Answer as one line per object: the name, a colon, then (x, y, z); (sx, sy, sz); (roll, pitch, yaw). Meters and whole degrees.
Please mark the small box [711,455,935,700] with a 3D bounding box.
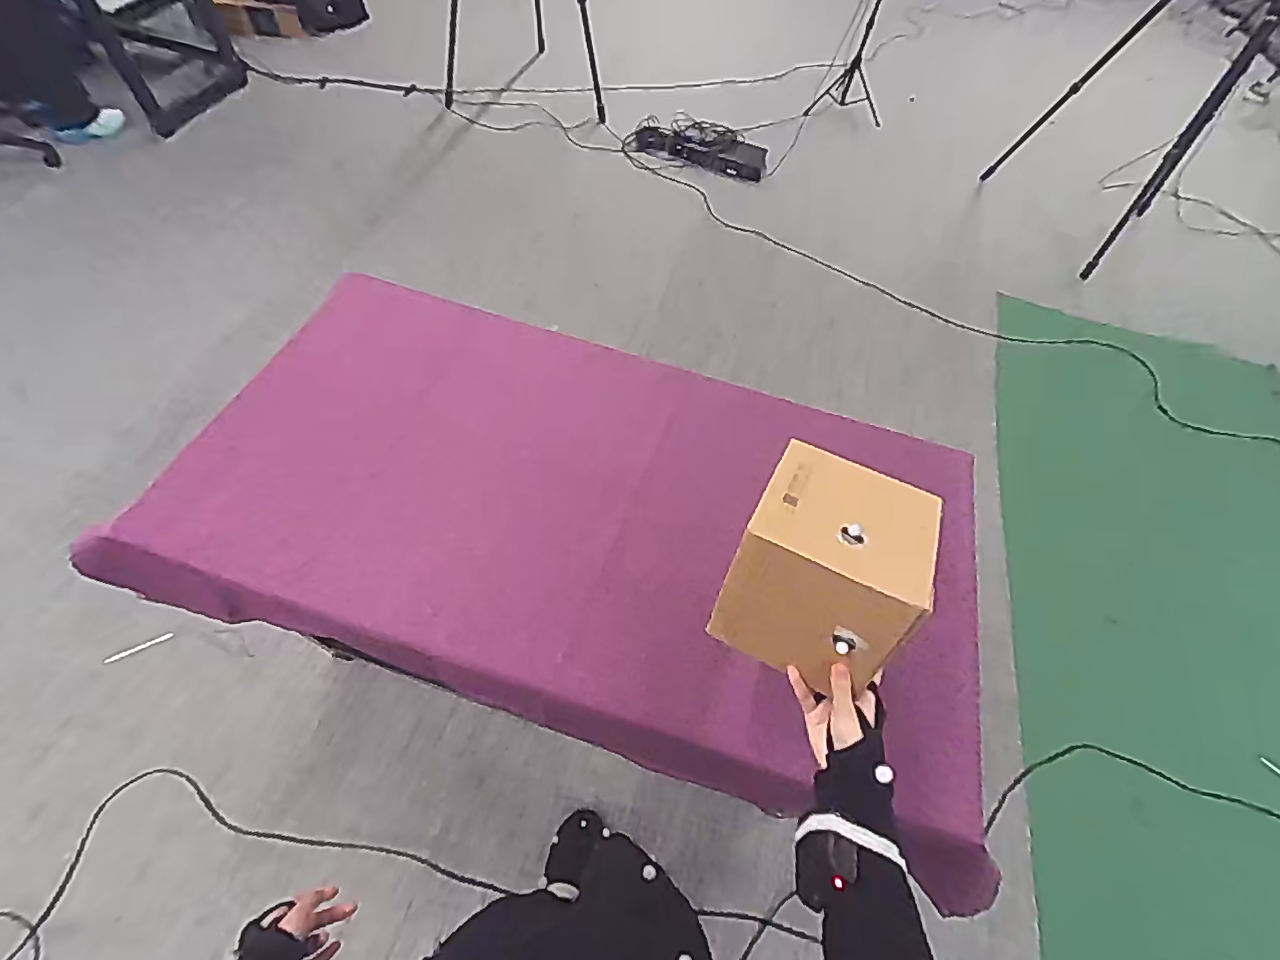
small box: (0.190, 0.092, 0.584); (0.176, 0.179, 0.168); (24, 42, 16)
